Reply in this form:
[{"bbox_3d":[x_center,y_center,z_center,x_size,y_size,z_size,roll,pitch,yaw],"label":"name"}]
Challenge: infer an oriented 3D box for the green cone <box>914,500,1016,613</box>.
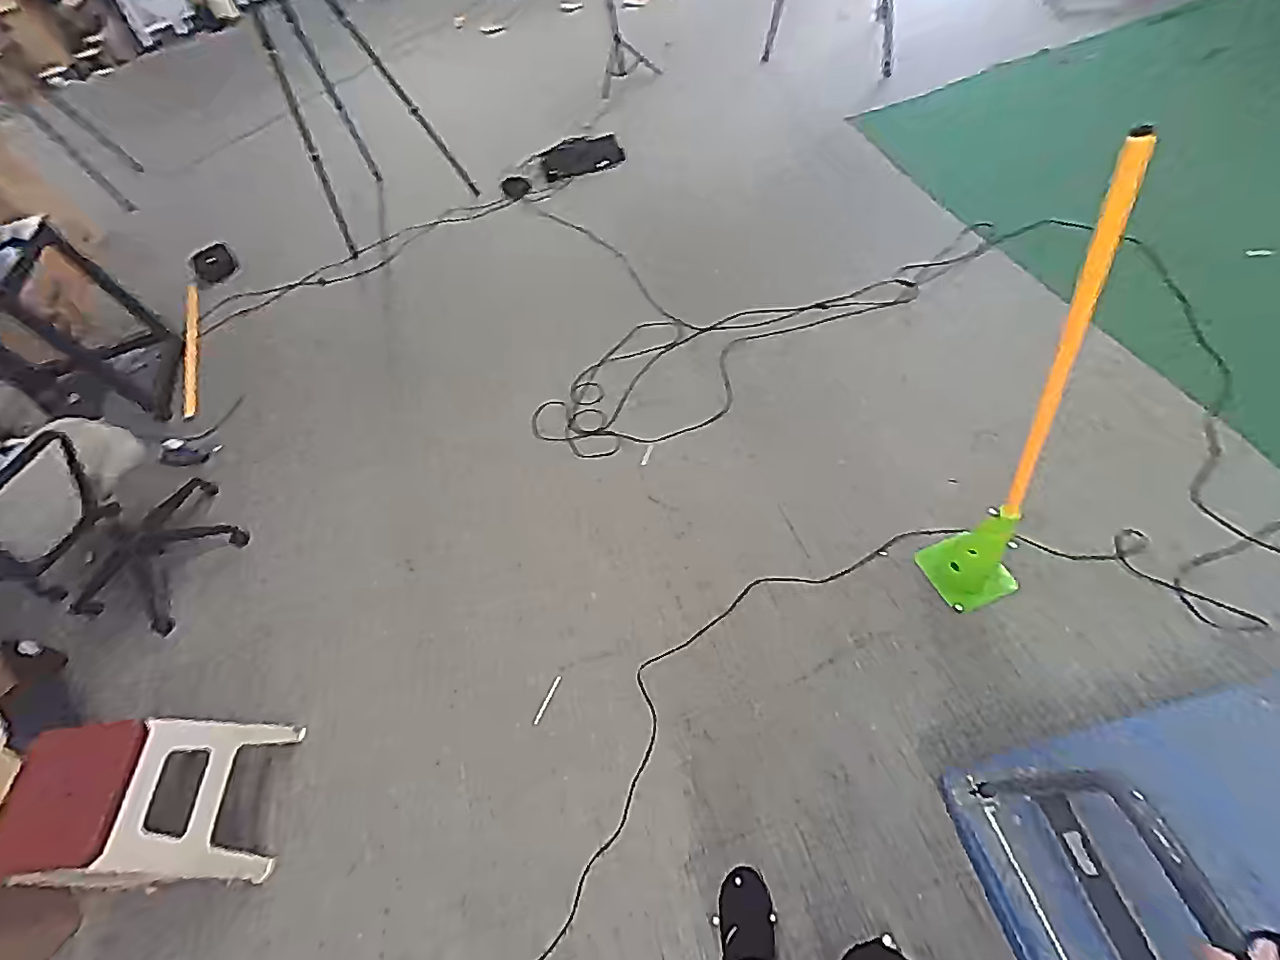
[{"bbox_3d":[0.888,0.165,1.400,0.200,0.368,0.202,-24,54,-4],"label":"green cone"}]
